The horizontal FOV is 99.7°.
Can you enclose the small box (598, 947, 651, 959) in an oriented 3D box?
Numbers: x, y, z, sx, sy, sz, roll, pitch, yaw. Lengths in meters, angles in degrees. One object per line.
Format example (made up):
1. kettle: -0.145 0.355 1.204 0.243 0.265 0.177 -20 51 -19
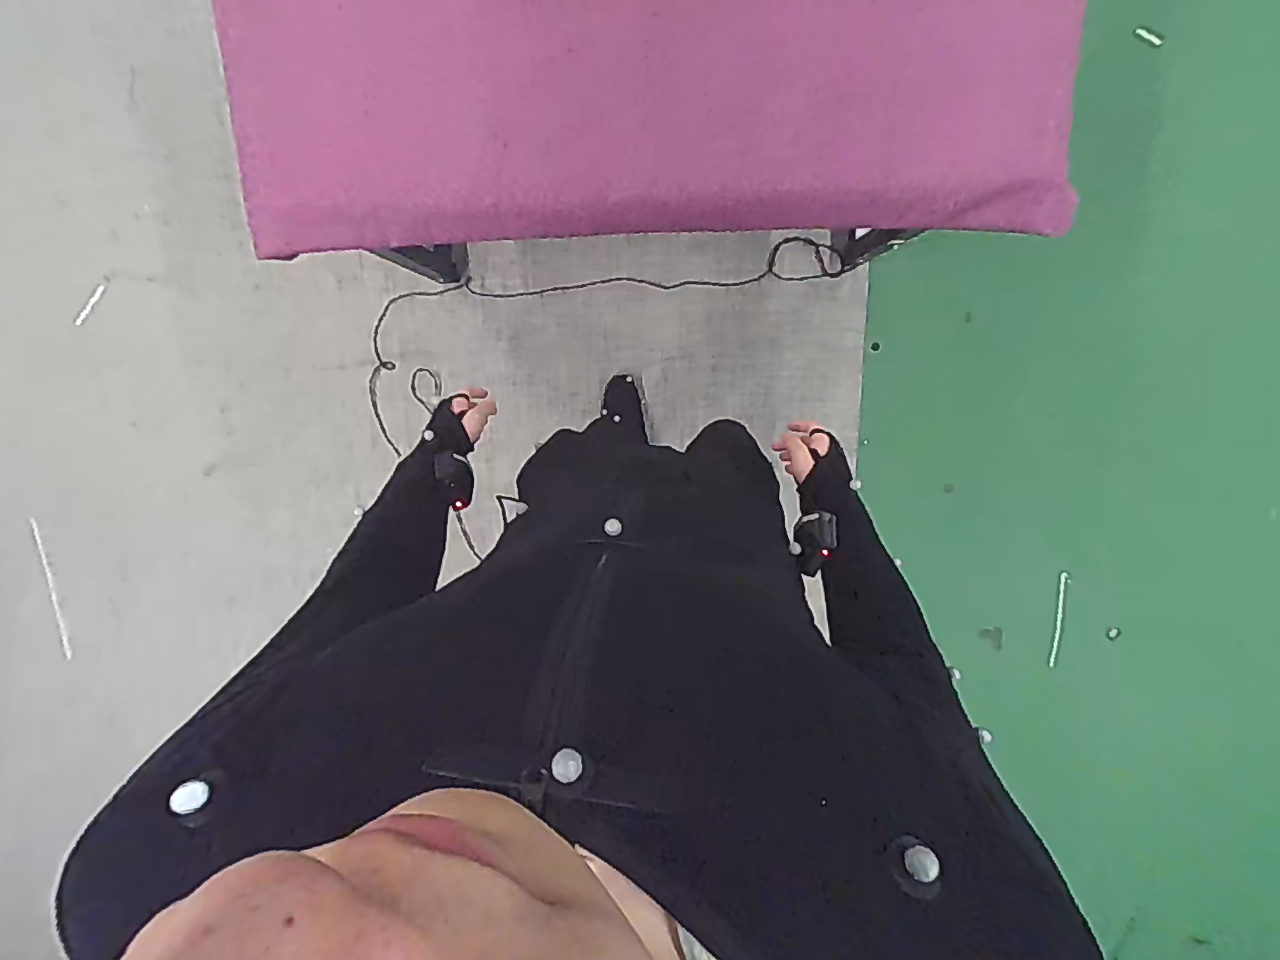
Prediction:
1. small box: -0.045 1.568 1.637 0.168 0.176 0.179 -2 102 0
